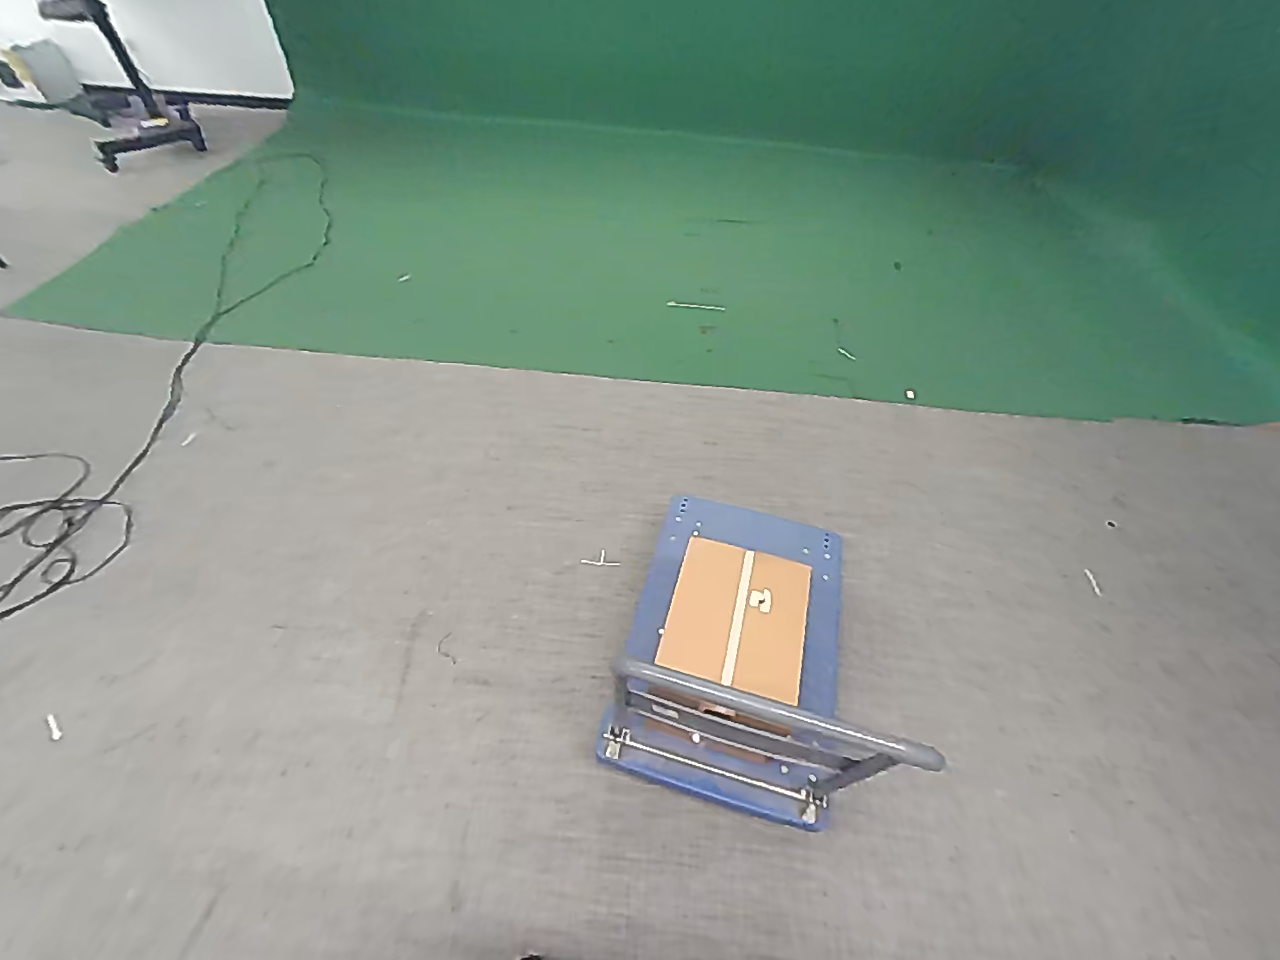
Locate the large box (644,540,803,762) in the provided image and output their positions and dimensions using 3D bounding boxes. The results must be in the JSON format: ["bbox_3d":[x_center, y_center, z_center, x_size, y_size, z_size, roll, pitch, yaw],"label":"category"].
[{"bbox_3d":[0.207,0.428,1.365,0.320,0.320,0.408,14,49,8],"label":"large box"}]
